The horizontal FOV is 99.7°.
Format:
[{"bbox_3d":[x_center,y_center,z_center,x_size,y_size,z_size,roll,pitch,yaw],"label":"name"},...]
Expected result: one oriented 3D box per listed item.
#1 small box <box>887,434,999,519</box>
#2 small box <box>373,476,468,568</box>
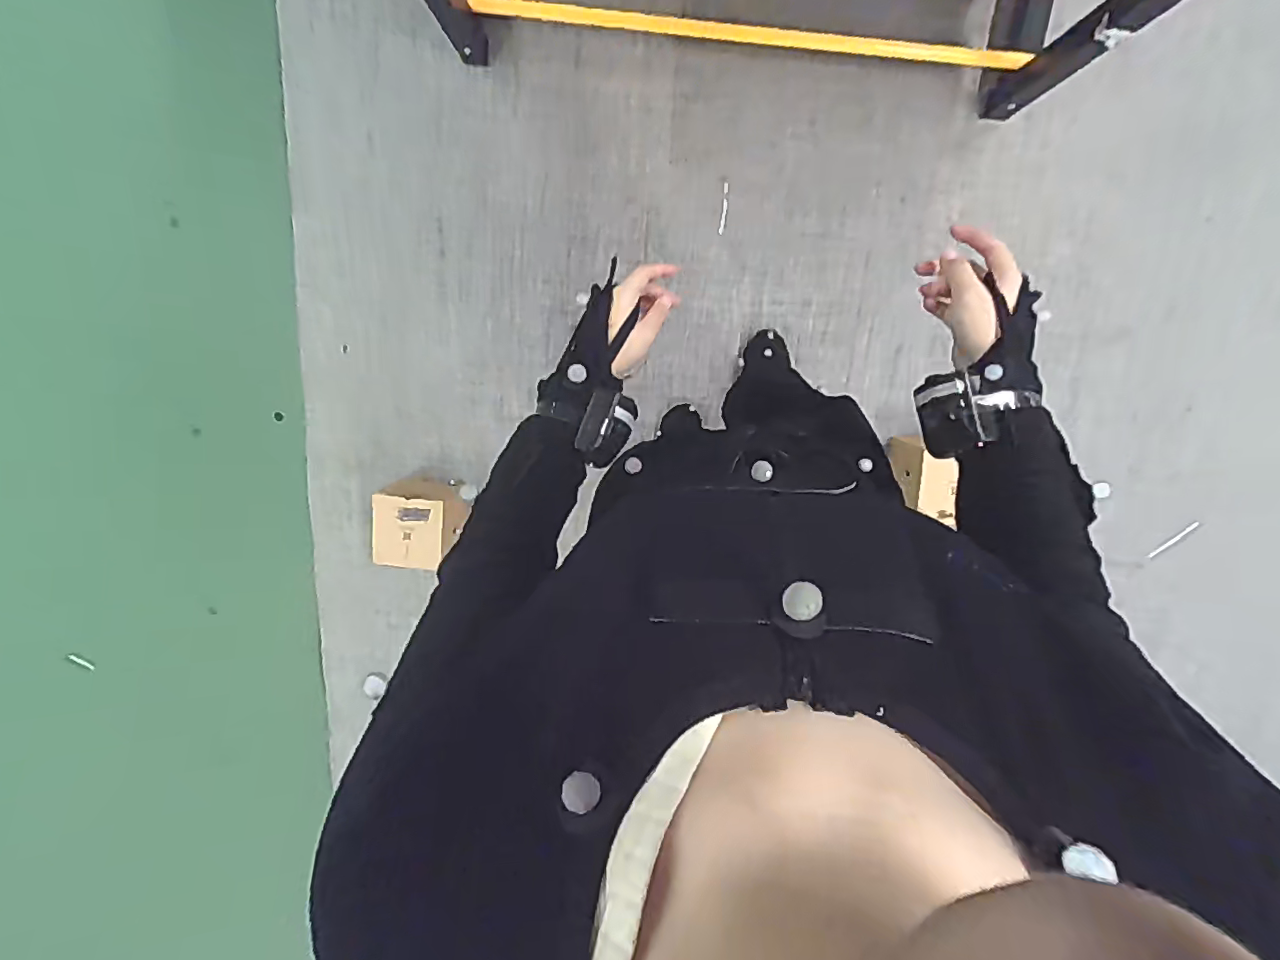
[{"bbox_3d":[0.697,-0.015,1.263,0.168,0.176,0.179,0,102,1],"label":"small box"},{"bbox_3d":[-0.529,0.095,1.320,0.168,0.176,0.179,7,104,0],"label":"small box"}]
